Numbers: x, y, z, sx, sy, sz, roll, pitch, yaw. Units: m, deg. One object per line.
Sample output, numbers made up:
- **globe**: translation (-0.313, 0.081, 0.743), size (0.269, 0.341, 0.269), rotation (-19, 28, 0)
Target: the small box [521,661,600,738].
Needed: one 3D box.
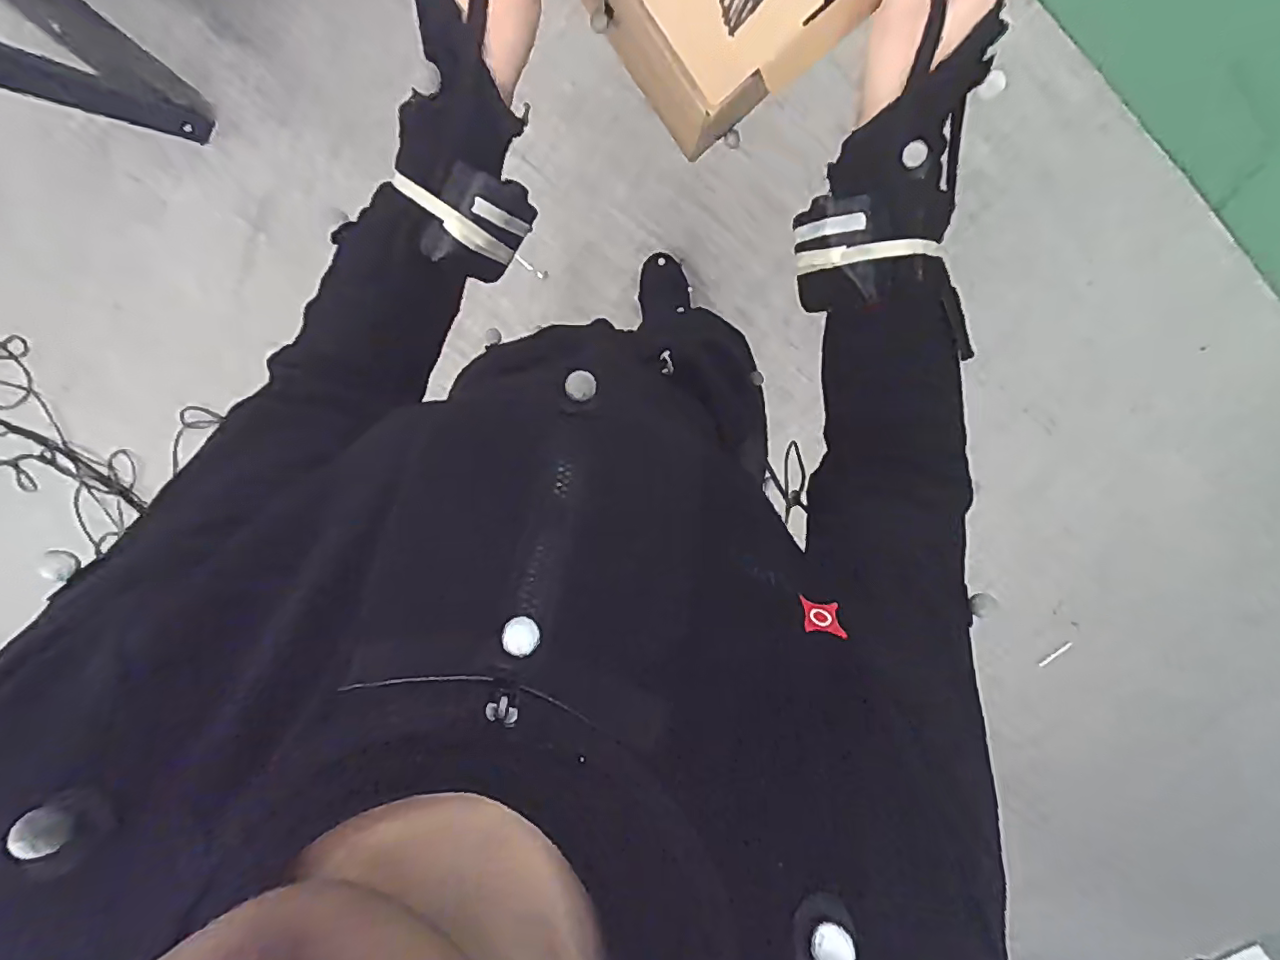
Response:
- **small box**: translation (-0.232, 0.669, 1.584), size (0.168, 0.176, 0.179), rotation (42, 106, -12)
